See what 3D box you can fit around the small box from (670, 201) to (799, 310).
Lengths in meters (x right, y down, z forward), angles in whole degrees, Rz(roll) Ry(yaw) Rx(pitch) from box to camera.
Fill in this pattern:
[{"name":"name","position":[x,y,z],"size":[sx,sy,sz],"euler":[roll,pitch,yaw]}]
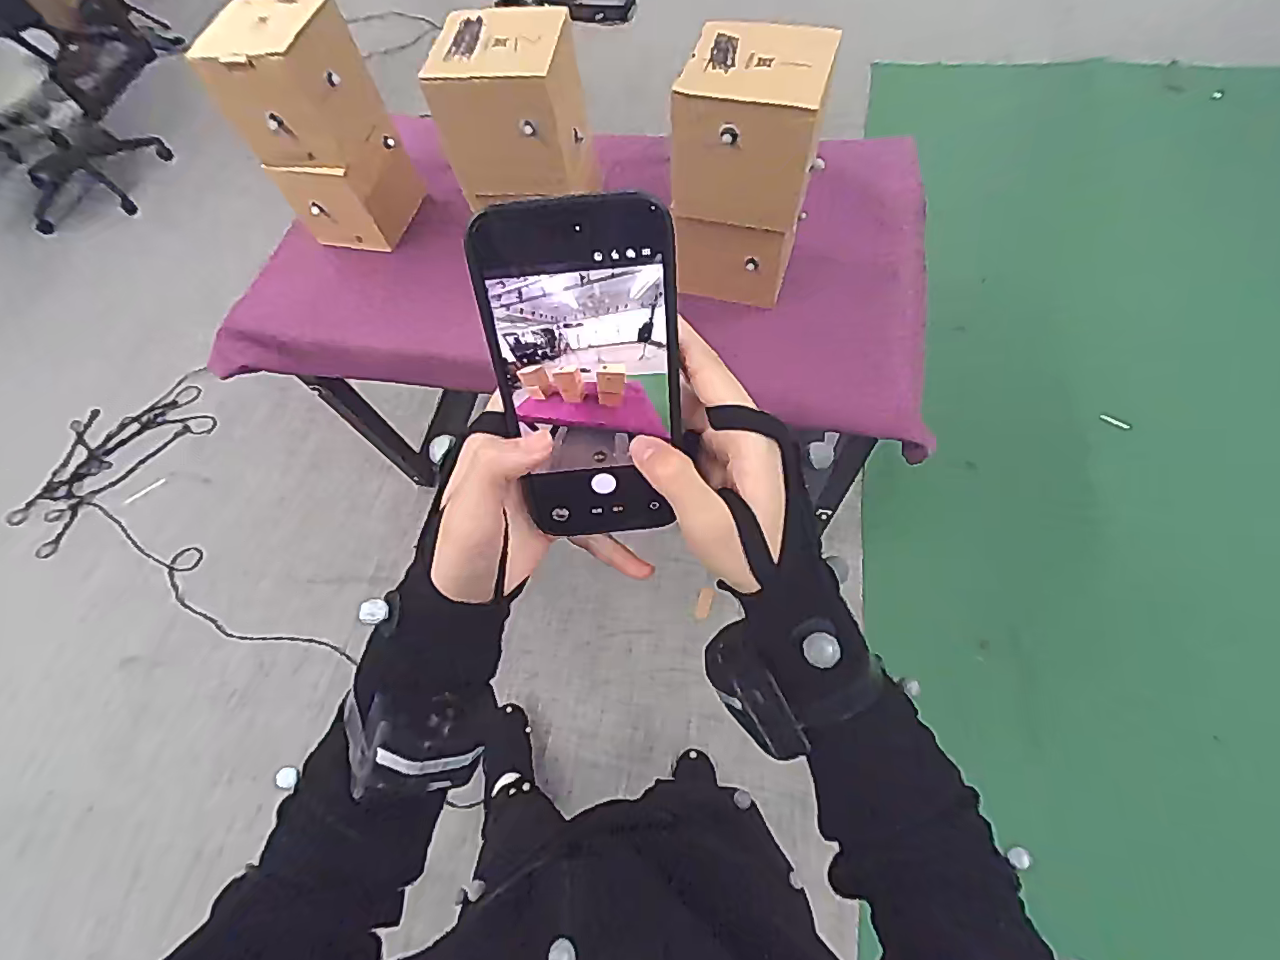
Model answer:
[{"name":"small box","position":[0.160,-0.404,0.882],"size":[0.179,0.176,0.168],"euler":[16,66,14]}]

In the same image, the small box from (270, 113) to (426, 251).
[{"name":"small box","position":[-0.539,-0.565,1.029],"size":[0.168,0.176,0.179],"euler":[11,66,11]}]

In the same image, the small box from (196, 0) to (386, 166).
[{"name":"small box","position":[-0.551,-0.644,0.885],"size":[0.168,0.176,0.179],"euler":[6,66,8]}]

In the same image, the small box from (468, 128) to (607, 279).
[{"name":"small box","position":[-0.166,-0.478,0.948],"size":[0.179,0.176,0.168],"euler":[10,65,11]}]

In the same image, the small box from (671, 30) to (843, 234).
[{"name":"small box","position":[0.150,-0.461,0.728],"size":[0.179,0.176,0.168],"euler":[16,66,12]}]
